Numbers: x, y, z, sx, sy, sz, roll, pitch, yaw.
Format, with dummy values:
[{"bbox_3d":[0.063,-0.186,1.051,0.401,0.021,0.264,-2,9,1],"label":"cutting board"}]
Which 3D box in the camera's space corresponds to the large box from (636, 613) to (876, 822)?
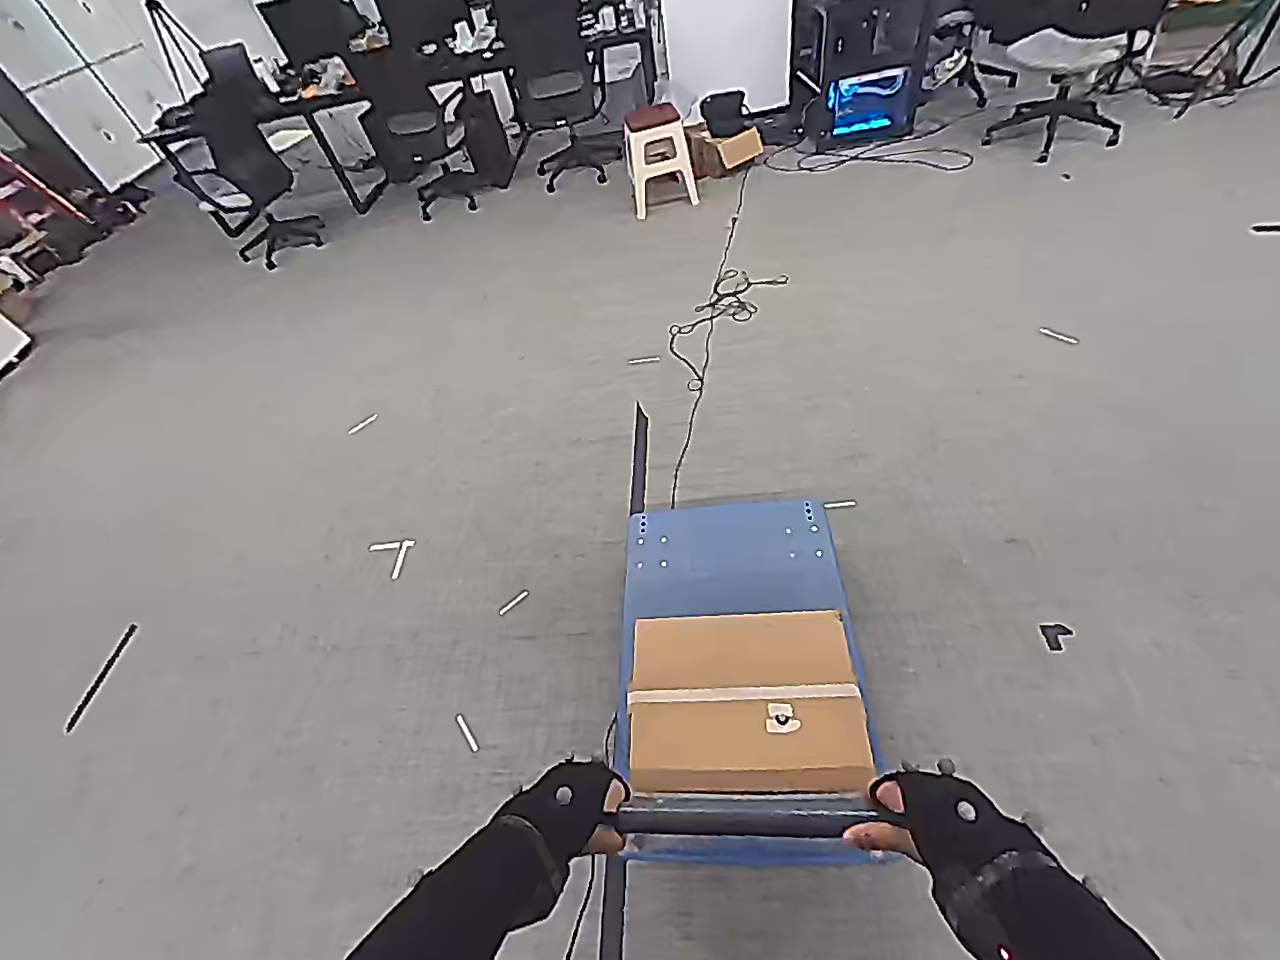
[{"bbox_3d":[0.212,0.492,1.103,0.408,0.320,0.320,-5,50,8],"label":"large box"}]
